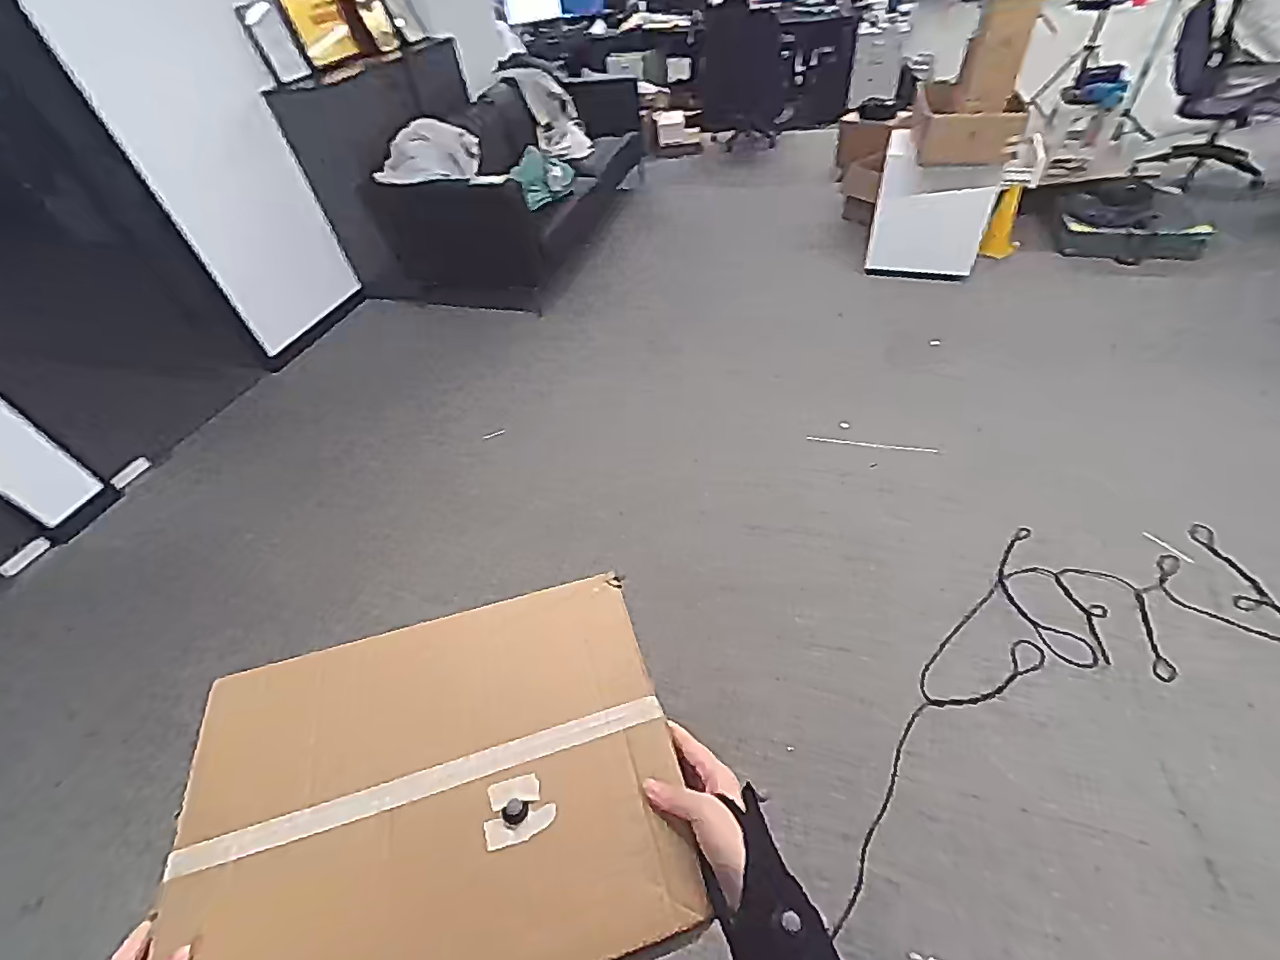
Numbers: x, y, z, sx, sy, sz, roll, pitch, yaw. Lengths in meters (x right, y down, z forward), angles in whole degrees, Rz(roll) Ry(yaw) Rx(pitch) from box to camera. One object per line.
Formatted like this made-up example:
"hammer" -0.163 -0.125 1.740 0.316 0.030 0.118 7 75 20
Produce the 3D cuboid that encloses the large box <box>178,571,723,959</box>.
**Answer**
"large box" -0.165 0.354 0.585 0.408 0.320 0.320 -12 49 -11
